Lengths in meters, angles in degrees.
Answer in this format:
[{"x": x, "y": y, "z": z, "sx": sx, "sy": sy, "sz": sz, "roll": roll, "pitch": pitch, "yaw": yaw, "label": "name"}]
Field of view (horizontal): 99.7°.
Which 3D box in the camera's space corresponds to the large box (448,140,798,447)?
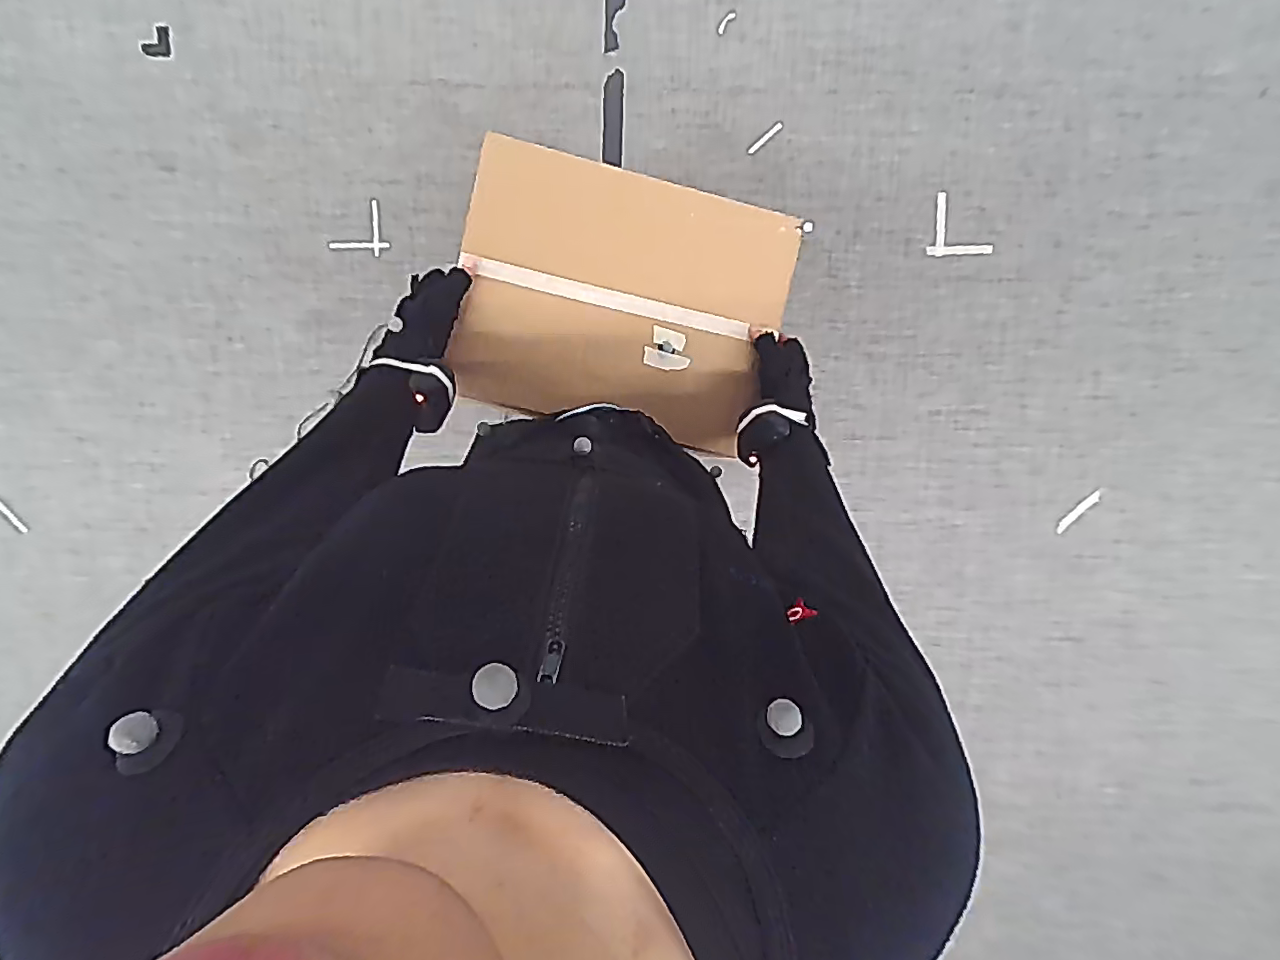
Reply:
[{"x": -0.033, "y": -0.239, "z": 0.833, "sx": 0.408, "sy": 0.320, "sz": 0.320, "roll": 12, "pitch": 93, "yaw": -6, "label": "large box"}]
